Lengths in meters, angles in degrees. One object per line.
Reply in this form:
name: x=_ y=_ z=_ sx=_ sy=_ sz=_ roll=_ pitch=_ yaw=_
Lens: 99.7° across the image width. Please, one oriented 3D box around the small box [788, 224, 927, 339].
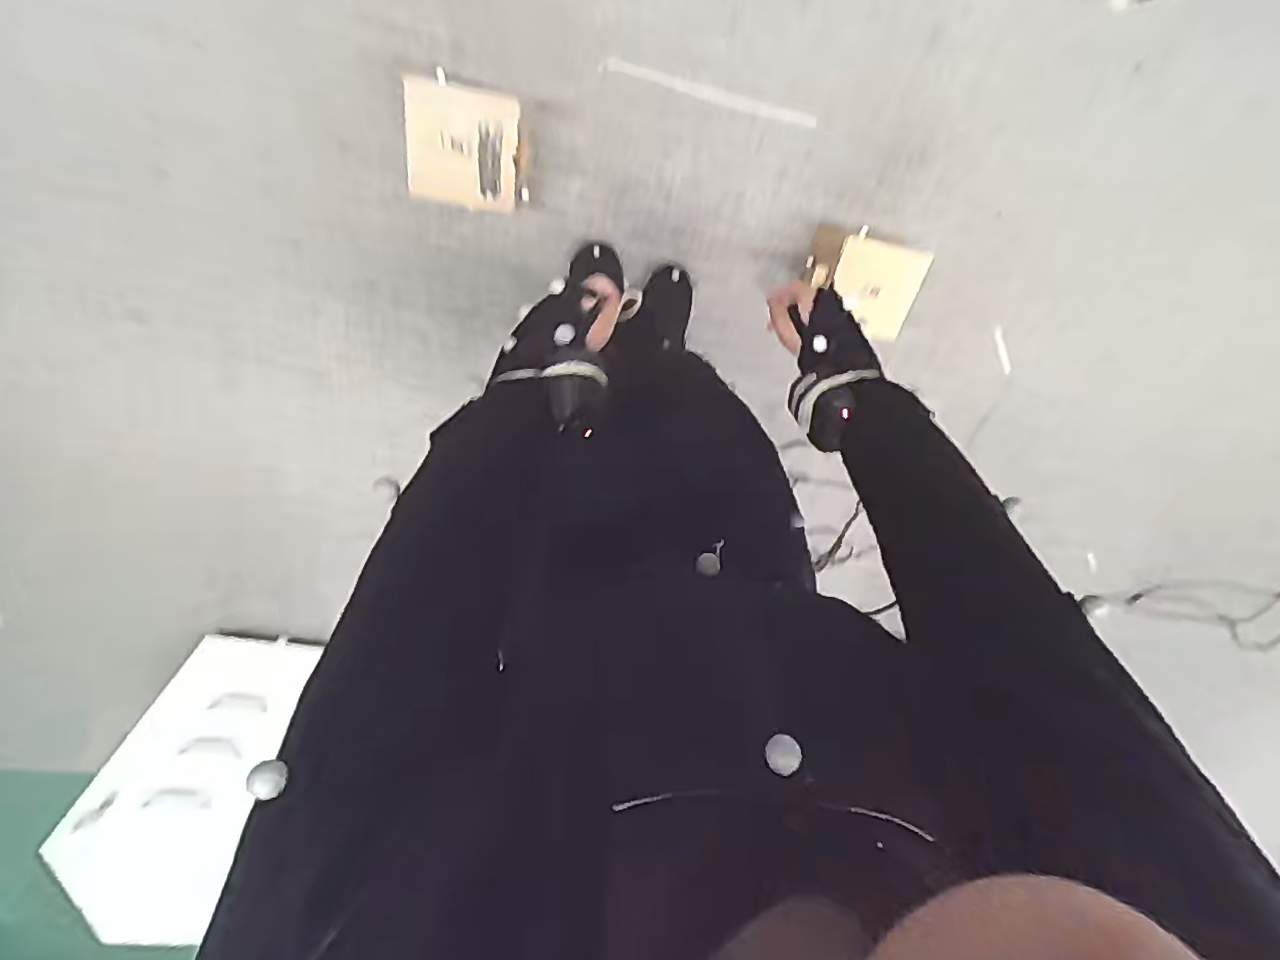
small box: x=0.425 y=-0.404 z=1.089 sx=0.179 sy=0.176 sz=0.168 roll=8 pitch=123 yaw=-9
